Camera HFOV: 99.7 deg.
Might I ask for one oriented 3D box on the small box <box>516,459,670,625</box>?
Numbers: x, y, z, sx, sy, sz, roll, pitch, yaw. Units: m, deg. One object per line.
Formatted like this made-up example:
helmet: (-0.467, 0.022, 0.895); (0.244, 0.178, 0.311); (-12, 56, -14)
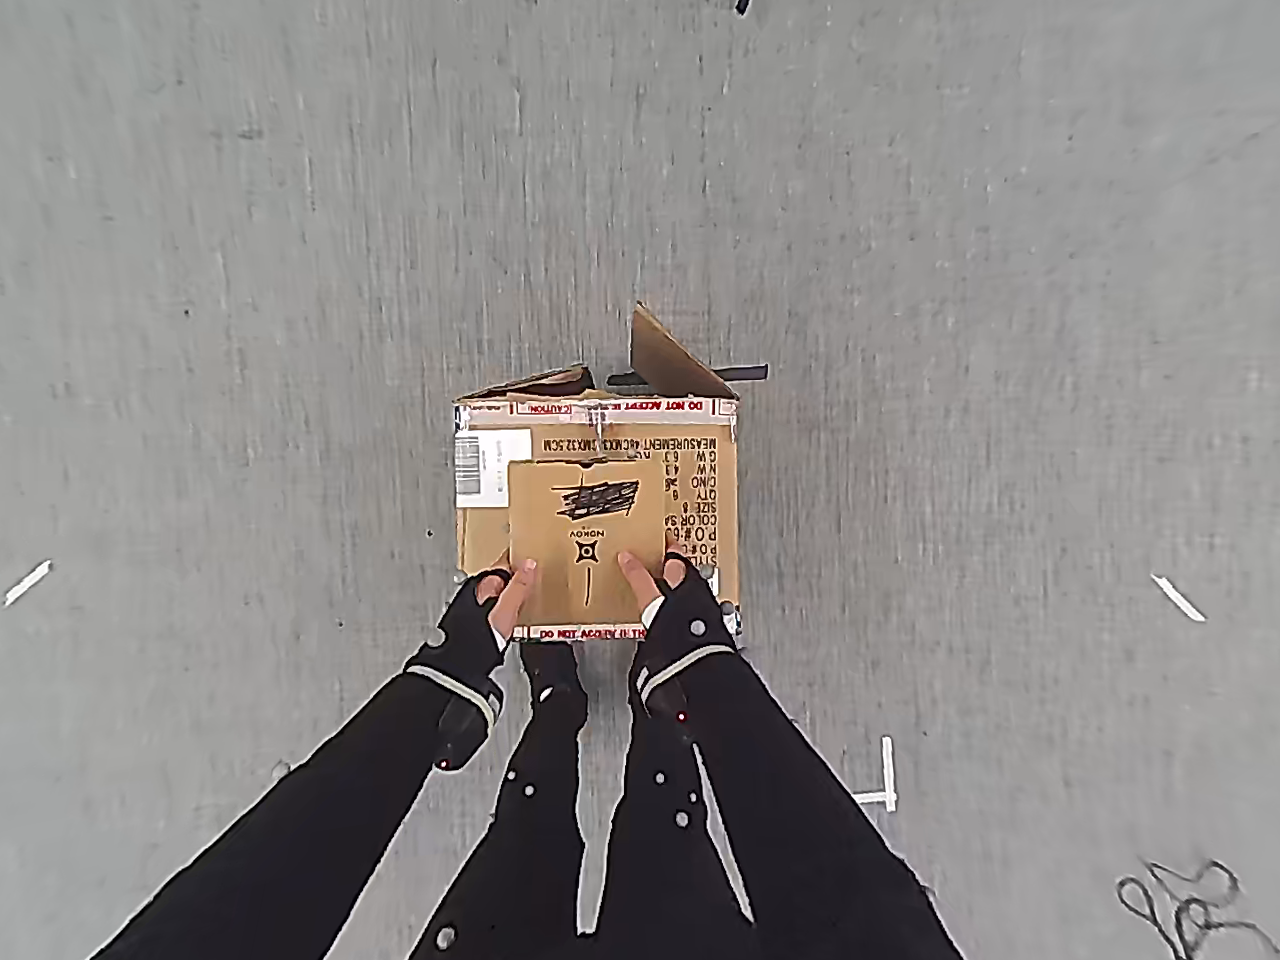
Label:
small box: (-0.053, 0.064, 0.652); (0.168, 0.176, 0.179); (-1, 92, -2)
